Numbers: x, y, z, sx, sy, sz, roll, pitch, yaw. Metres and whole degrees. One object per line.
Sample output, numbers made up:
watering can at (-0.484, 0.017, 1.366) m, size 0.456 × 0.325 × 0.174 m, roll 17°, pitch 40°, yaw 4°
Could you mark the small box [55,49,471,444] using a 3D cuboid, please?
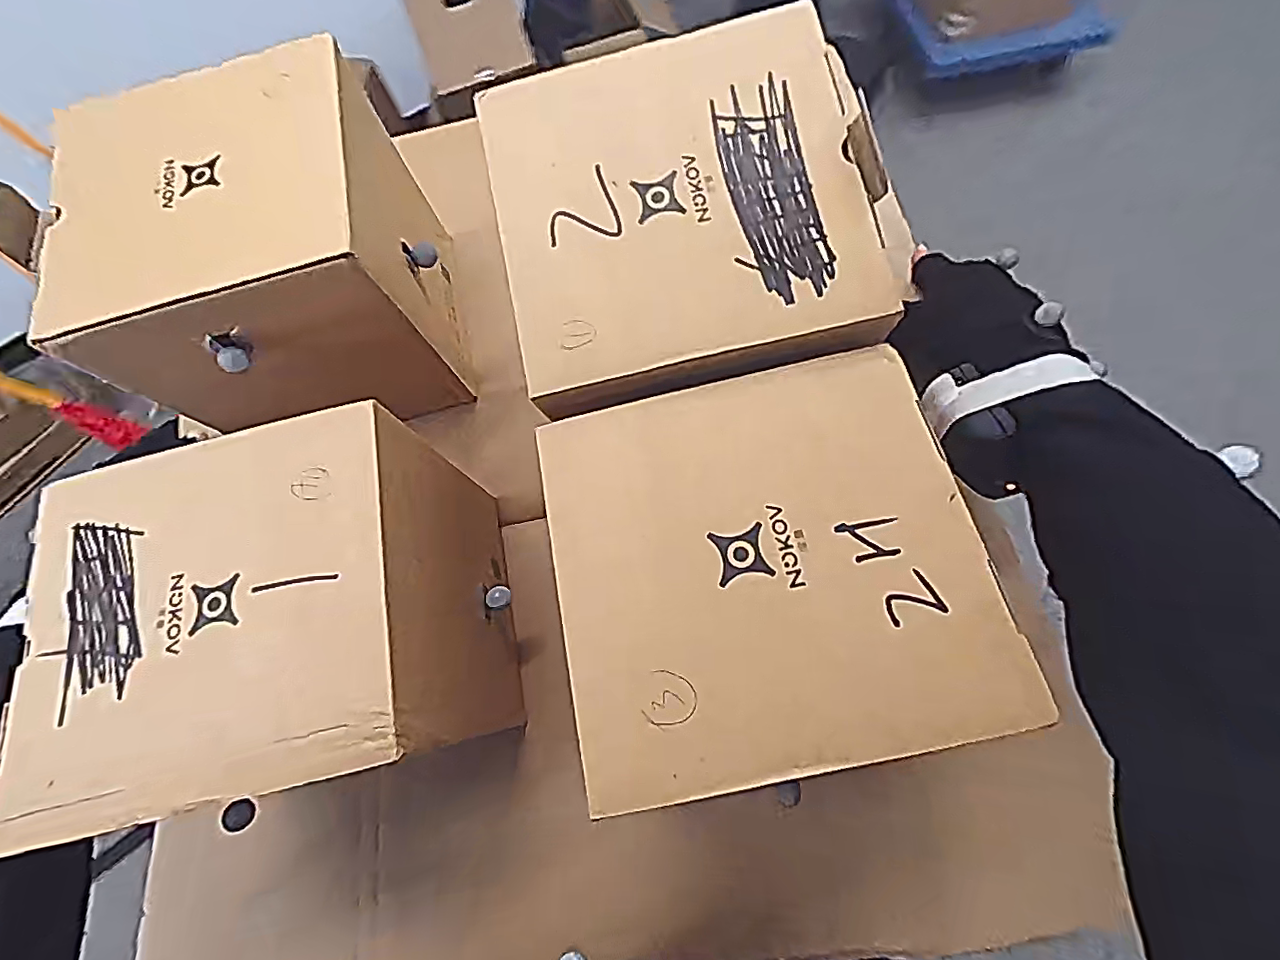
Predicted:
small box at (-0.233, -0.143, 0.383) m, size 0.179 × 0.176 × 0.168 m, roll -14°, pitch 72°, yaw 2°
